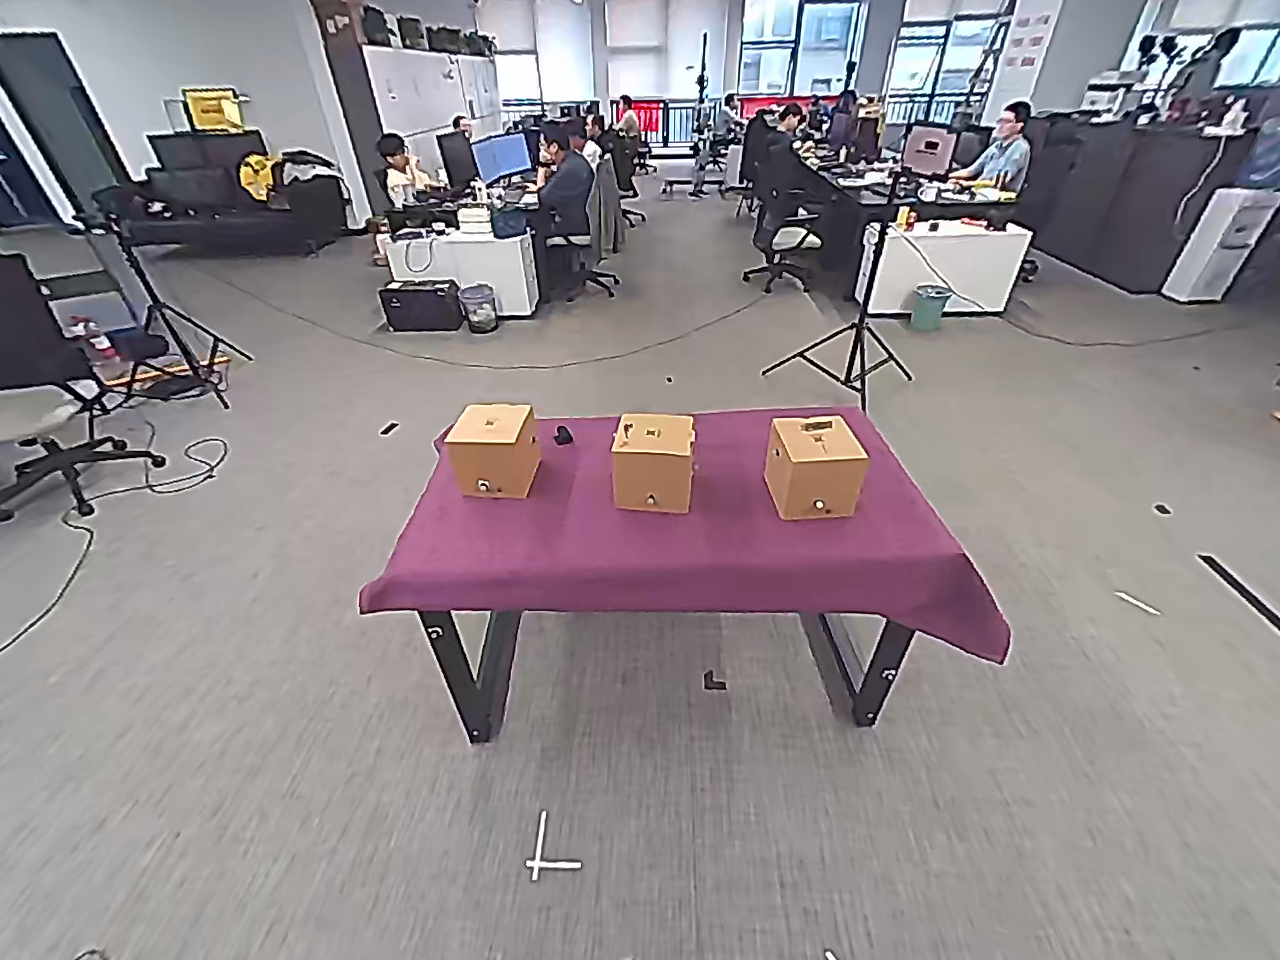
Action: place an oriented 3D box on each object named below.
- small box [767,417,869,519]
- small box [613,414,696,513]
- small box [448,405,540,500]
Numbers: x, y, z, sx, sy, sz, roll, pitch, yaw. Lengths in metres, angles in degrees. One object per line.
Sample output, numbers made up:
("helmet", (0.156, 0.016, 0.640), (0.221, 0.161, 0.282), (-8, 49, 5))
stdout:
("small box", (0.399, -0.029, 1.250), (0.168, 0.176, 0.179), (-3, 37, -1))
("small box", (0.037, -0.039, 1.279), (0.179, 0.176, 0.168), (4, 37, 7))
("small box", (-0.350, -0.070, 1.335), (0.168, 0.176, 0.179), (0, 38, 4))
